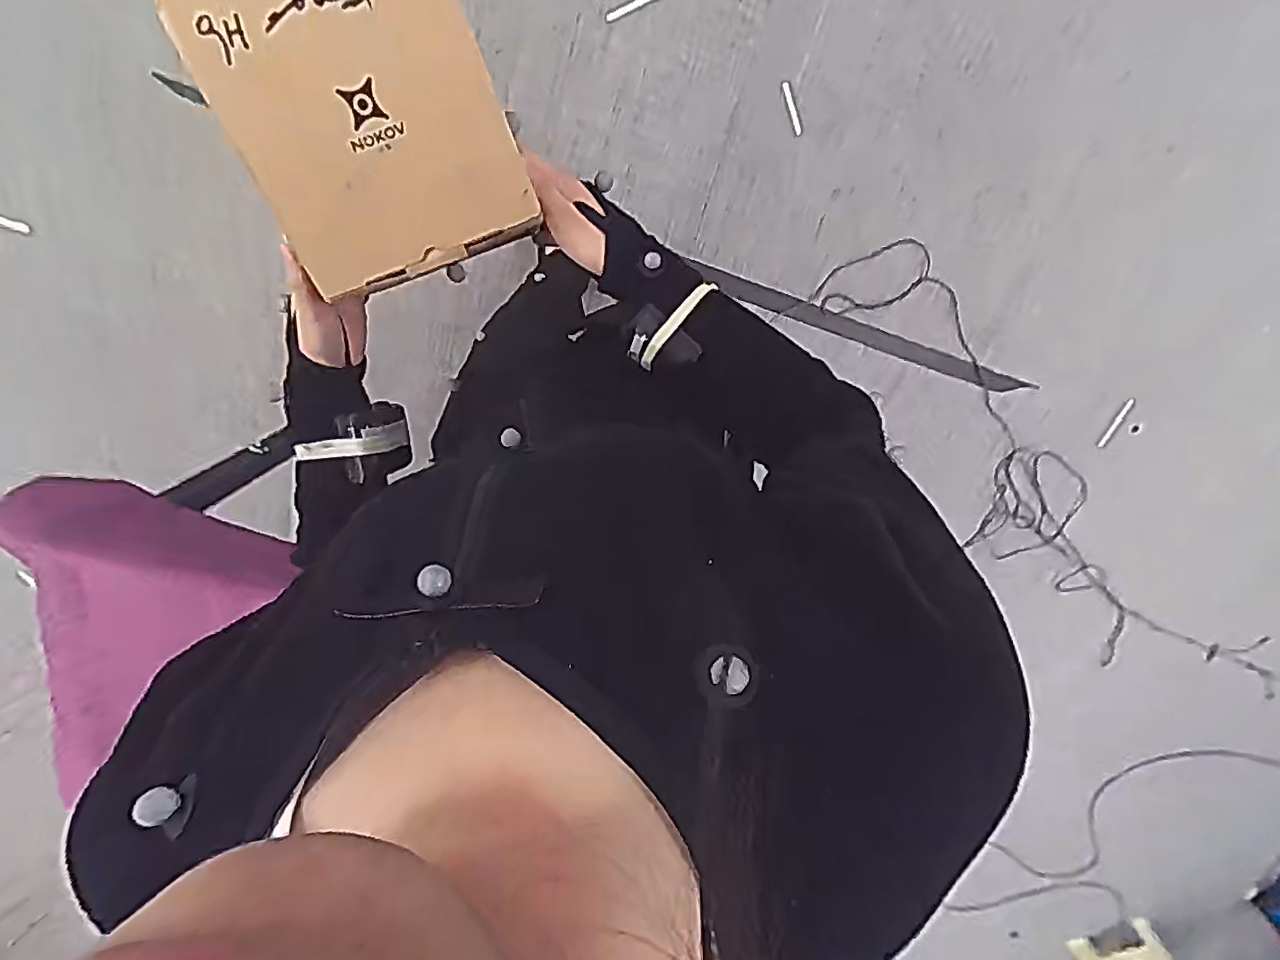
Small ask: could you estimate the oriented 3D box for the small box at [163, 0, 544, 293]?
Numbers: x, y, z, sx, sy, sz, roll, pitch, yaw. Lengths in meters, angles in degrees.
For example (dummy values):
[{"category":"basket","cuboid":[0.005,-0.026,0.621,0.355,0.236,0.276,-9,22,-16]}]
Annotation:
[{"category":"small box","cuboid":[-0.183,-0.261,0.412,0.168,0.176,0.179,-22,115,-4]}]
